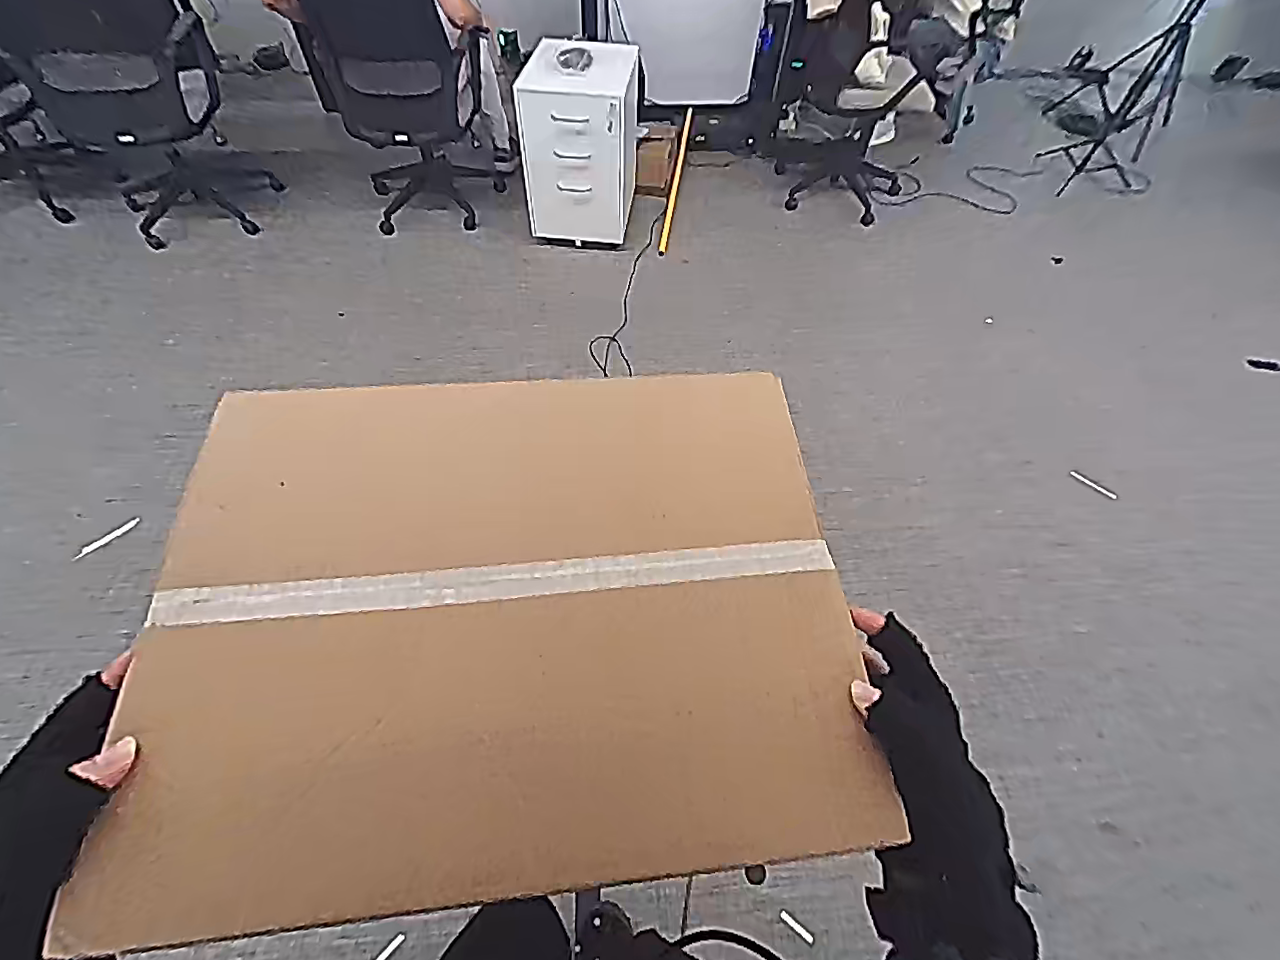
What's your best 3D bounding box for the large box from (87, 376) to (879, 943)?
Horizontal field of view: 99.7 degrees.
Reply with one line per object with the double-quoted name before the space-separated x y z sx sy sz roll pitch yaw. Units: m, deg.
"large box" -0.088 0.135 0.472 0.408 0.320 0.320 -4 61 -6
